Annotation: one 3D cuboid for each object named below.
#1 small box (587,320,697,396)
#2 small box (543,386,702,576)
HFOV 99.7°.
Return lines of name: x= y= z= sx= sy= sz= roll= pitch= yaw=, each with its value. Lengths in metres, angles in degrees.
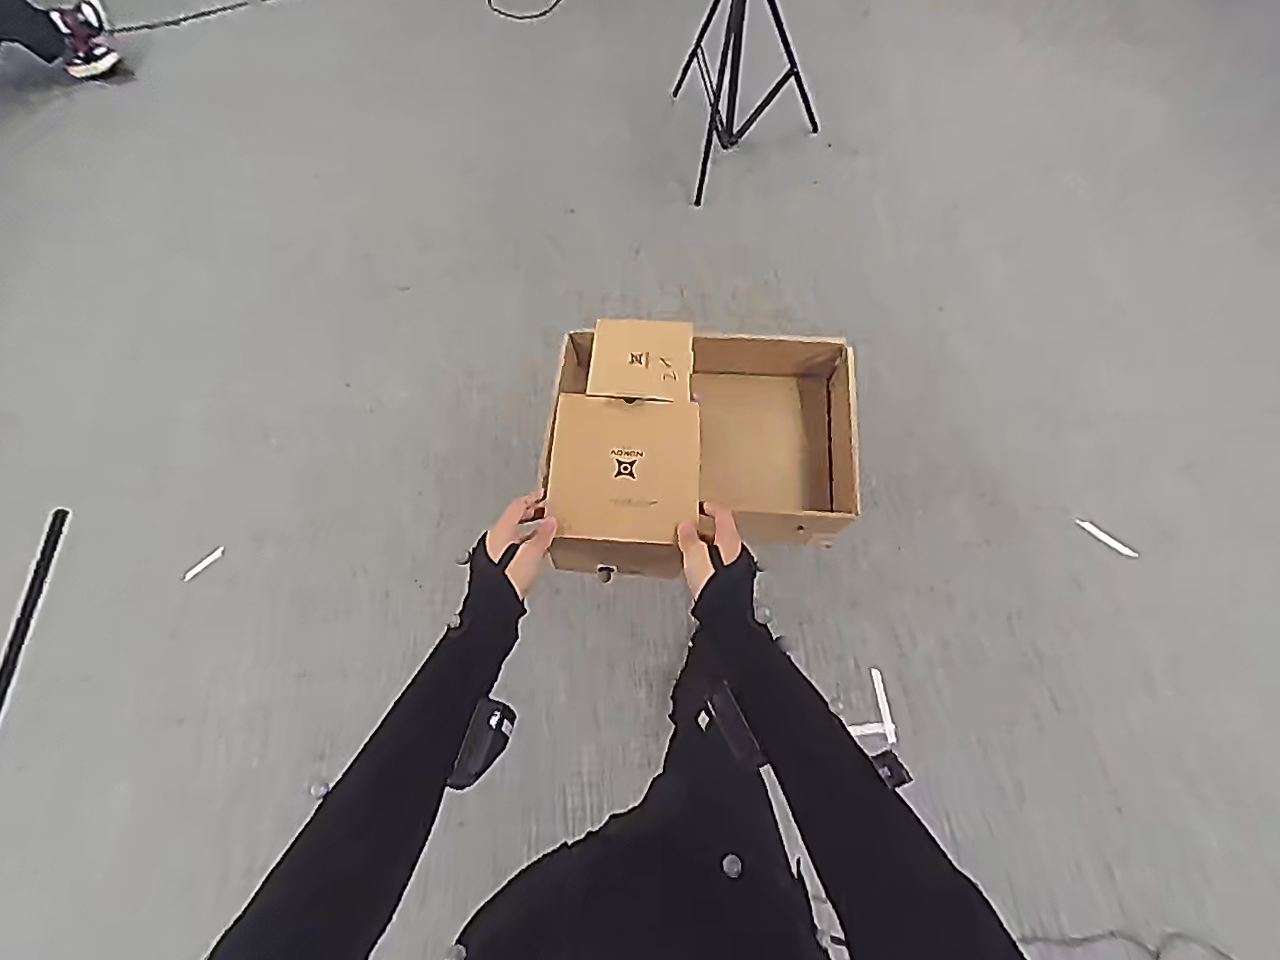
small box: x=0.009 y=-0.170 z=0.987 sx=0.179 sy=0.176 sz=0.168 roll=4 pitch=69 yaw=5
small box: x=-0.019 y=0.008 z=0.662 sx=0.168 sy=0.176 sz=0.179 roll=4 pitch=67 yaw=-1
